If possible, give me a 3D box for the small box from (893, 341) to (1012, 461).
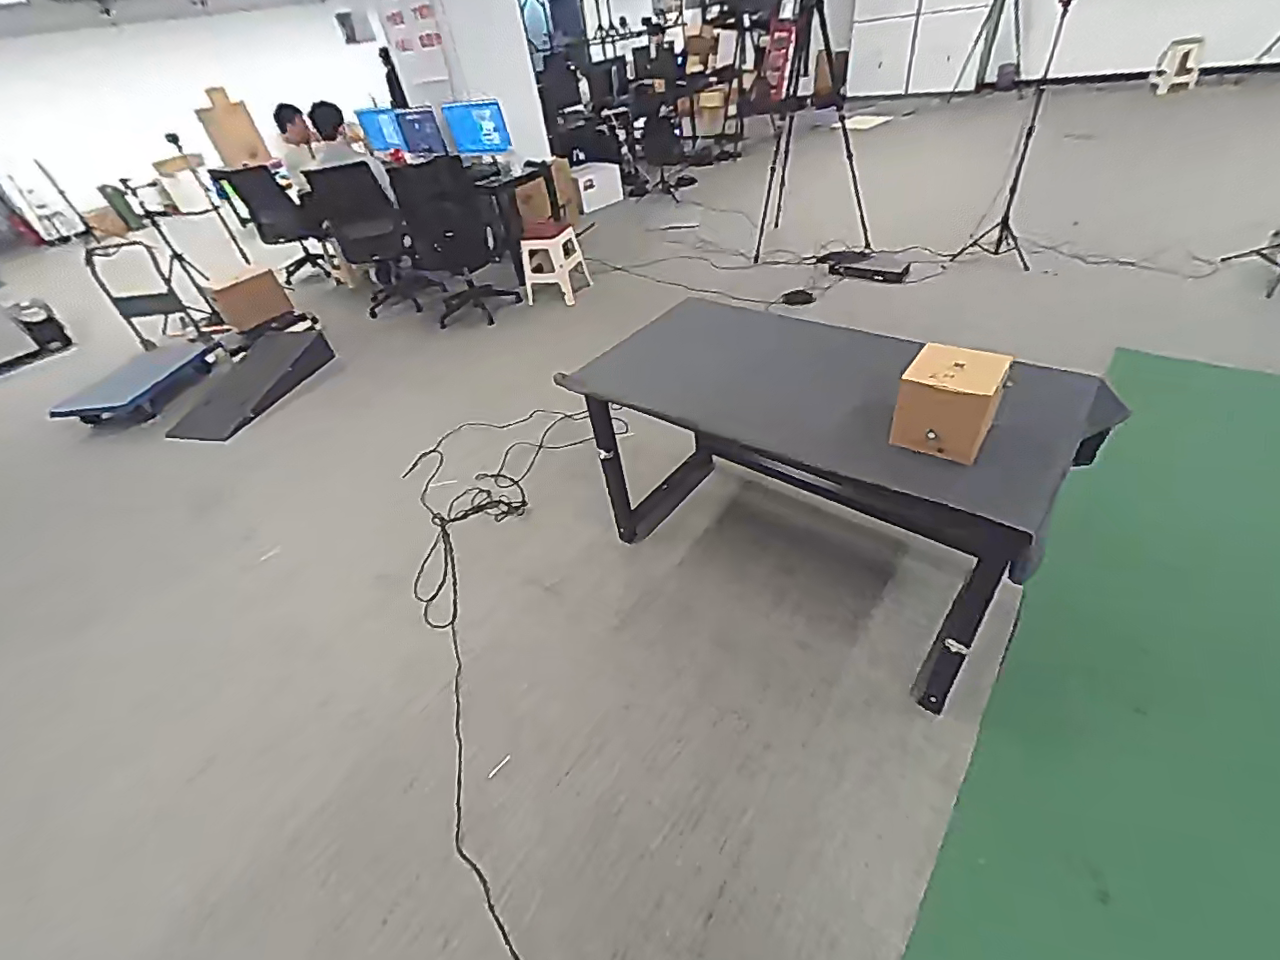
[{"bbox_3d":[0.654,-0.170,1.145,0.168,0.176,0.179,21,50,34],"label":"small box"}]
